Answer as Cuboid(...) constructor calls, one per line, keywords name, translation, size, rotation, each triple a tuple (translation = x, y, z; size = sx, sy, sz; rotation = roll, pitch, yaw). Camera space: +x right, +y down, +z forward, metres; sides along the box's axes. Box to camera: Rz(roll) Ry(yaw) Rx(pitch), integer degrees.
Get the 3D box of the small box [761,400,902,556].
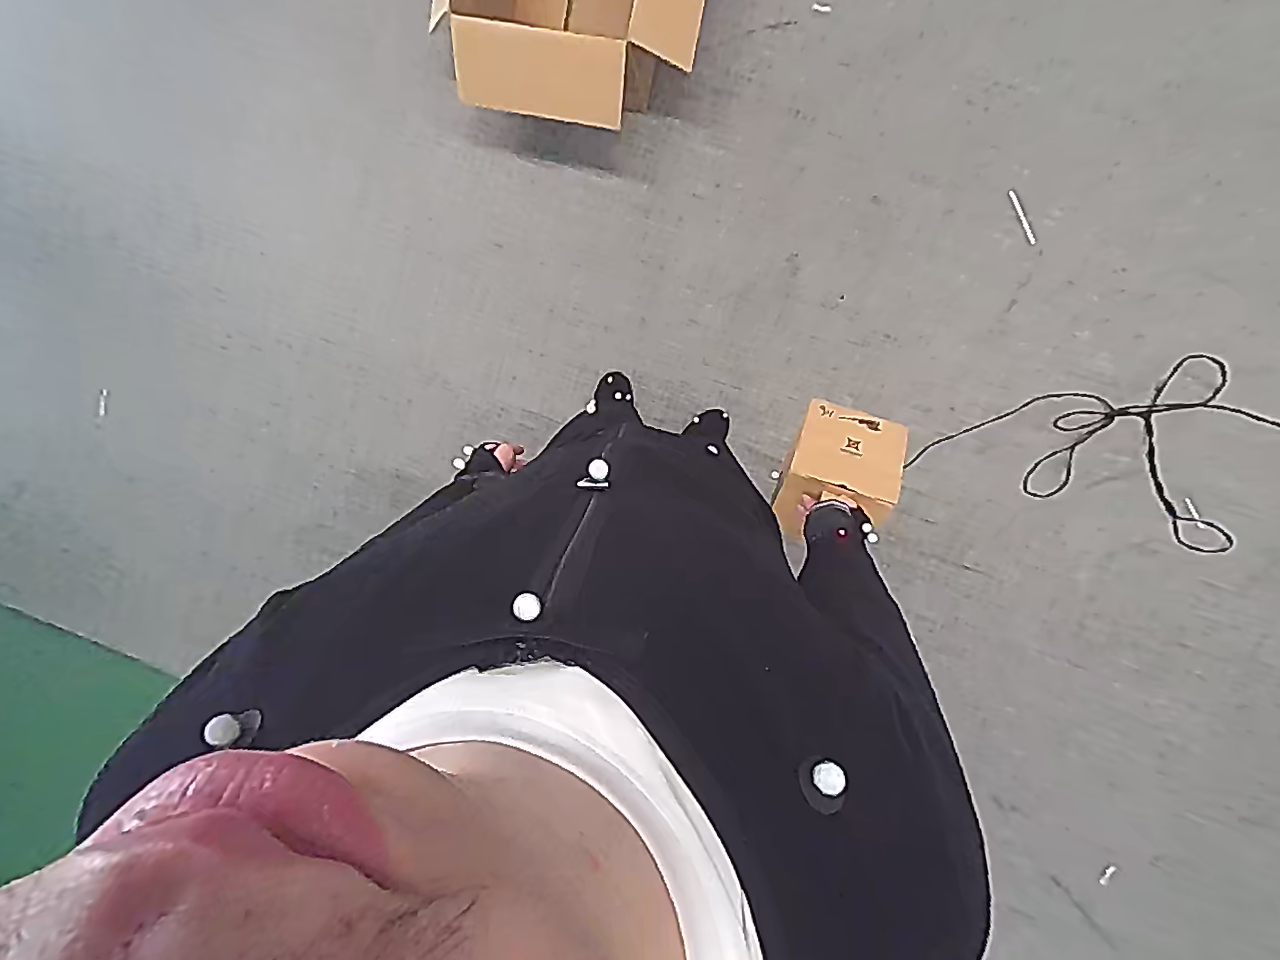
Cuboid(name="small box", translation=(0.317, 0.001, 0.921), size=(0.168, 0.179, 0.176), rotation=(22, 145, 11))
